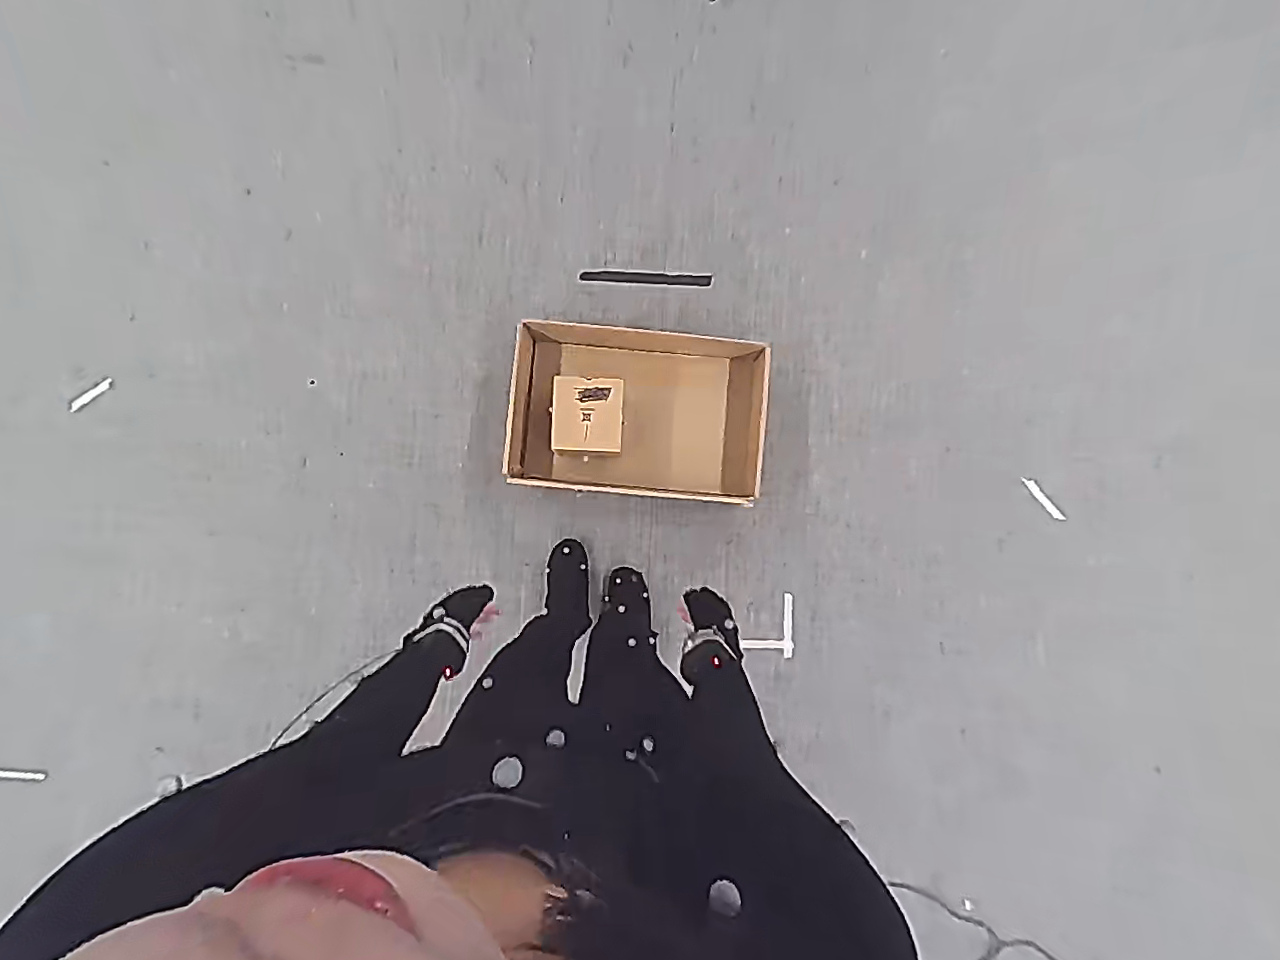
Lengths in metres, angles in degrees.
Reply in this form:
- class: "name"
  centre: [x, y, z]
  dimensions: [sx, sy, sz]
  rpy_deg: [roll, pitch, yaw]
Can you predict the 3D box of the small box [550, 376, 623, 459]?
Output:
- class: "small box"
  centre: [-0.129, -0.151, 1.343]
  dimensions: [0.168, 0.176, 0.179]
  rpy_deg: [3, 88, -2]
